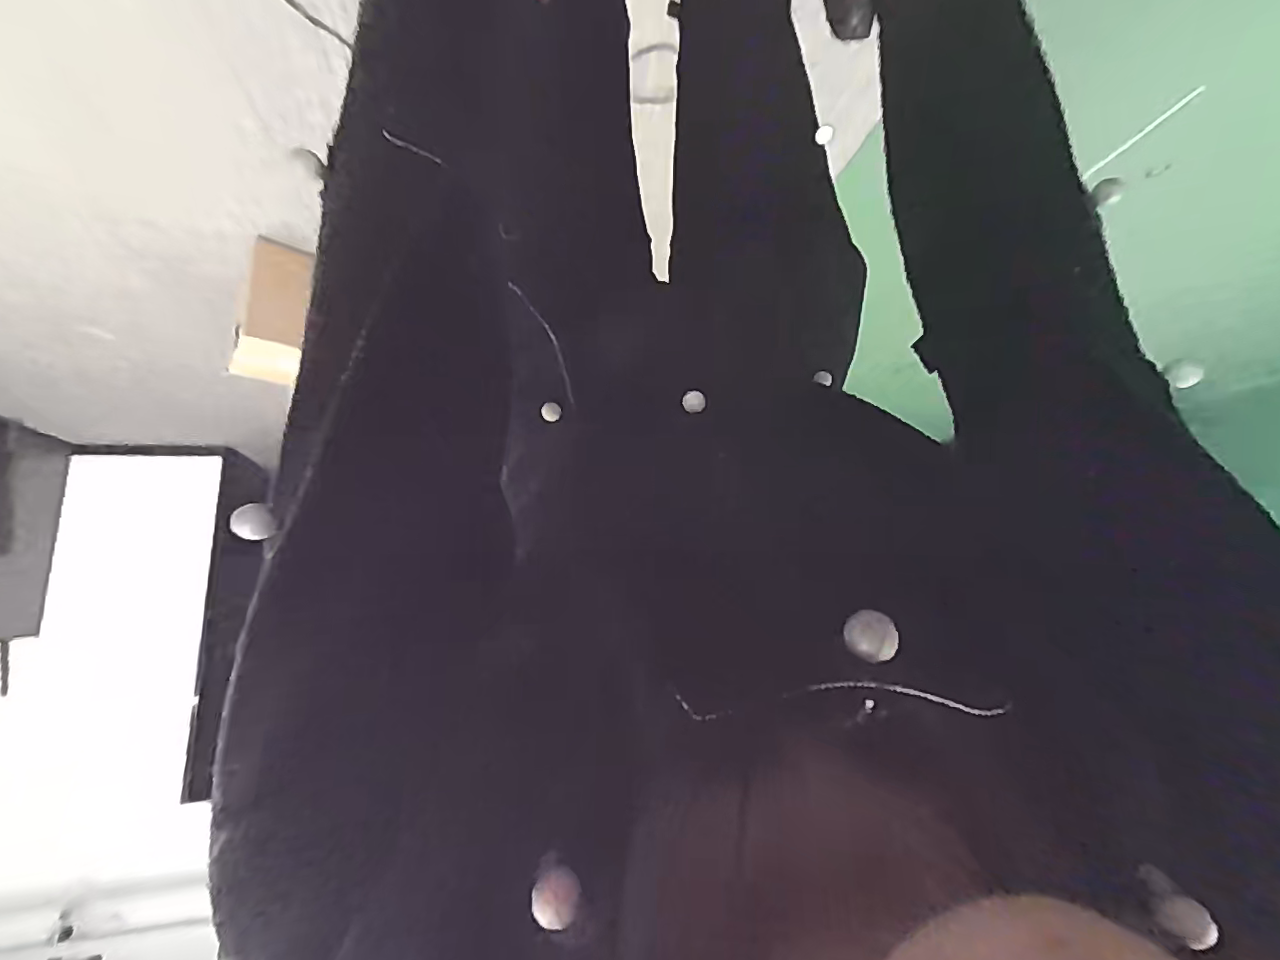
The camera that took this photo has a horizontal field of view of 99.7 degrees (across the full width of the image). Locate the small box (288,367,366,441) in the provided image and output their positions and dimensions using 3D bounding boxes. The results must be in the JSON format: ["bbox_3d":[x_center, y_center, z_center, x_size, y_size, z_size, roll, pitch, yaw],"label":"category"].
[{"bbox_3d":[-0.981,-0.236,1.702,0.179,0.176,0.168,-13,163,42],"label":"small box"}]

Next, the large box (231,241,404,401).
[{"bbox_3d":[-1.015,-0.481,1.721,0.408,0.320,0.320,11,161,-41],"label":"large box"}]
